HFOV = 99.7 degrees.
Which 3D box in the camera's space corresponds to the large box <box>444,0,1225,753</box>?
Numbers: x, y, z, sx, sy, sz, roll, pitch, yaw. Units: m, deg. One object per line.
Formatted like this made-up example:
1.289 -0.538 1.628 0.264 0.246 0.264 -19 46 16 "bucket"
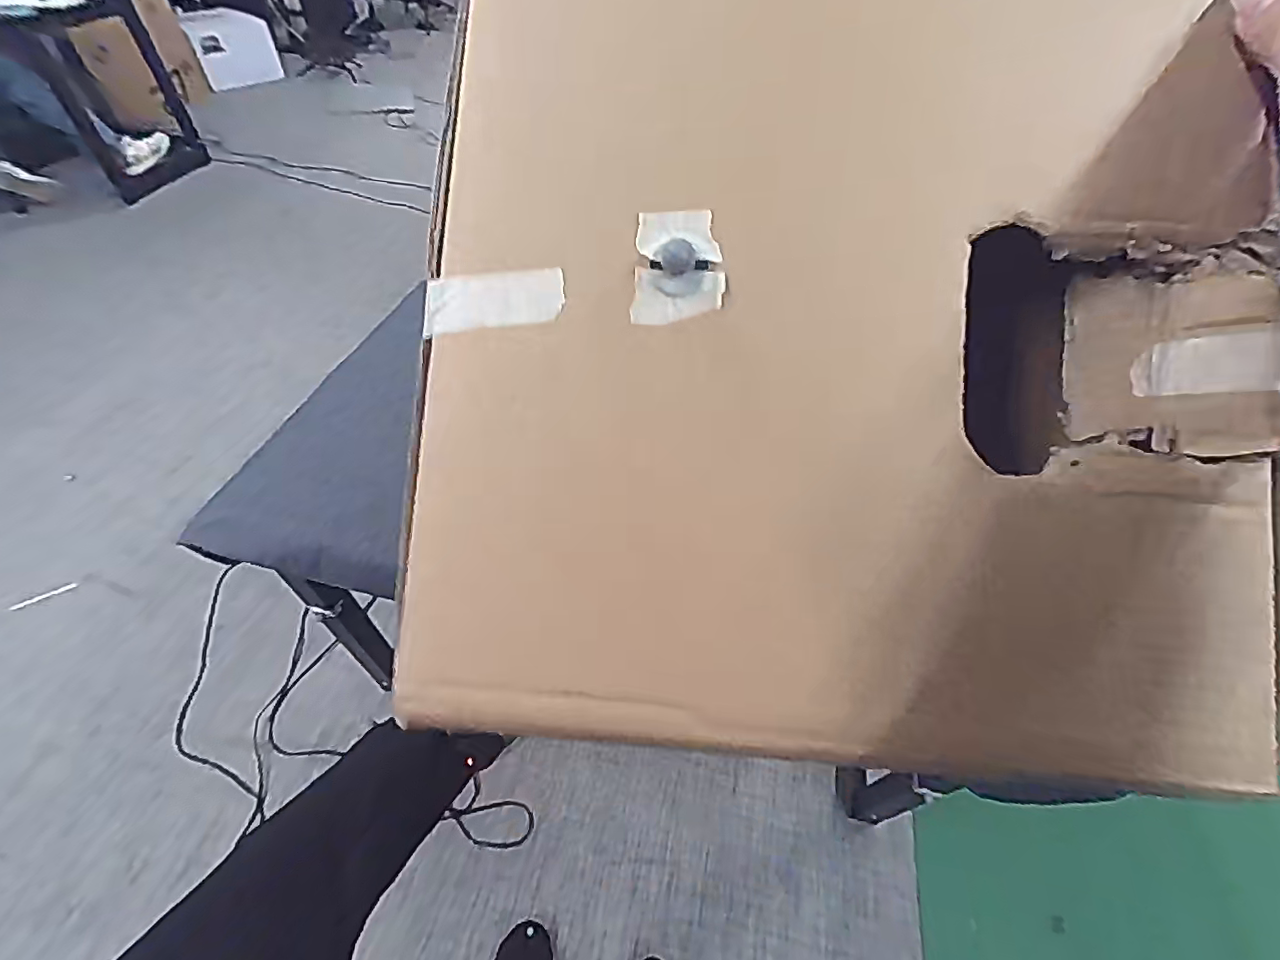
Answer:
0.077 -0.039 0.410 0.320 0.408 0.320 4 86 0 "large box"
